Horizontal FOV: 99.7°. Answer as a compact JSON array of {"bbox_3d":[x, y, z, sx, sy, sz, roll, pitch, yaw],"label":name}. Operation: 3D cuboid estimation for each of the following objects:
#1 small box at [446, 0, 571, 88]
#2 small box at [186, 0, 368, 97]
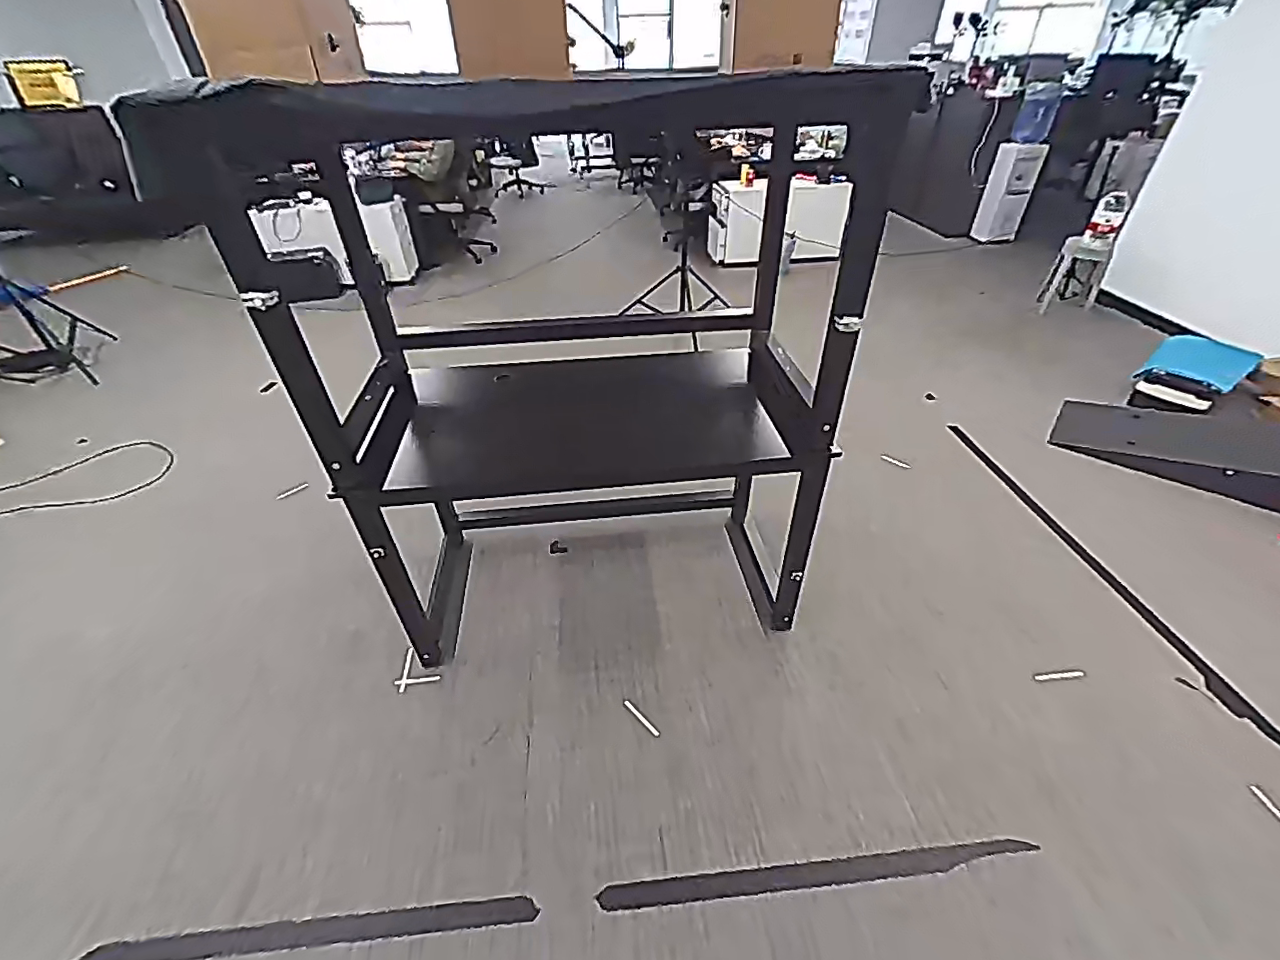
[{"bbox_3d":[-0.209,-0.734,0.865,0.179,0.176,0.168,-6,37,-7],"label":"small box"},{"bbox_3d":[-0.562,-0.701,0.838,0.179,0.176,0.168,1,36,3],"label":"small box"}]
